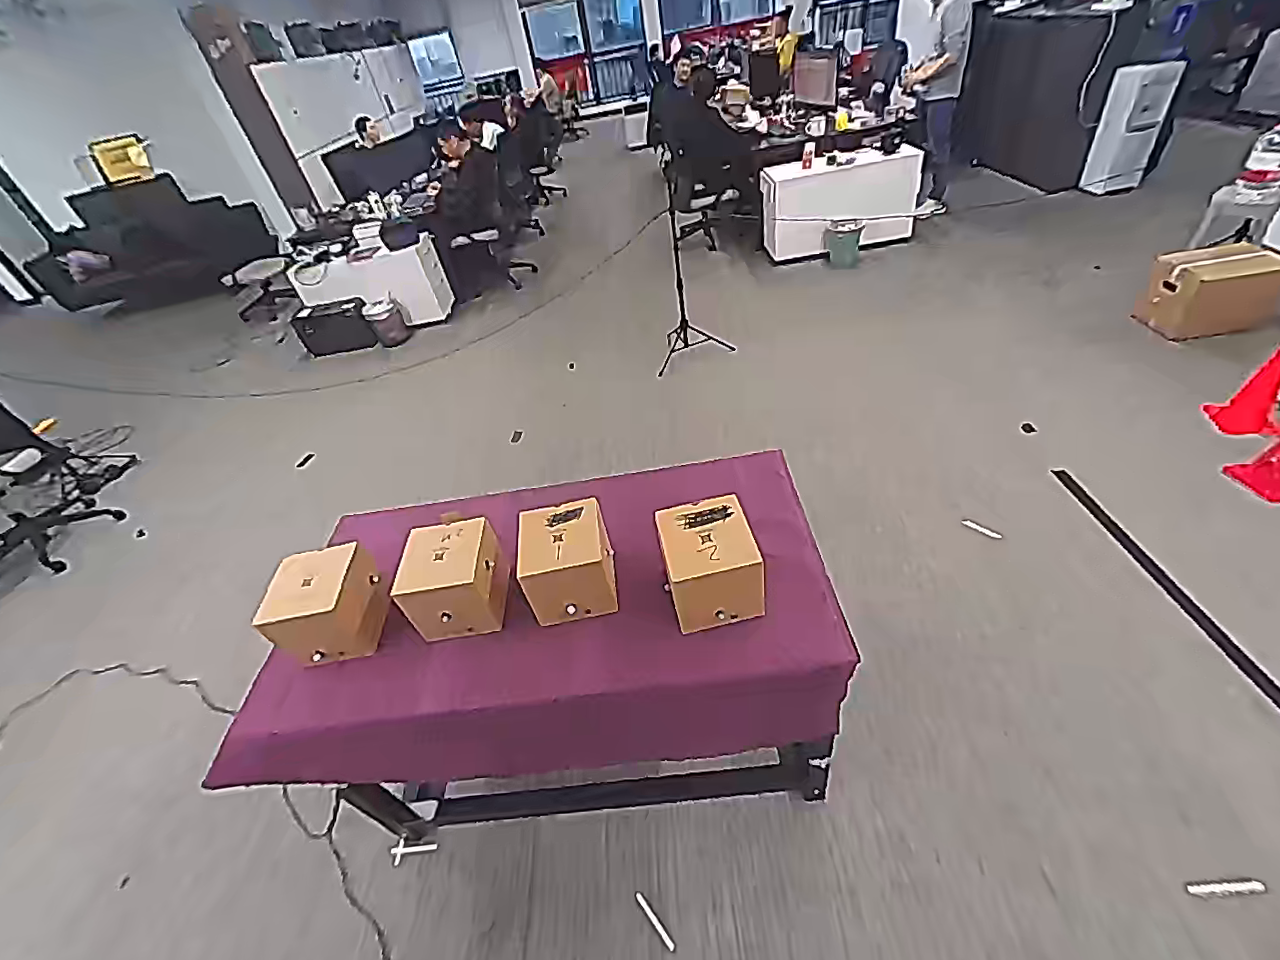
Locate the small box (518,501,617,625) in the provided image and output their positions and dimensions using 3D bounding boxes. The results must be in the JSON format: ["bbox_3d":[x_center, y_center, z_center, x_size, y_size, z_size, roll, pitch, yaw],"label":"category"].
[{"bbox_3d":[-0.147,0.173,1.131,0.168,0.176,0.179,-12,41,1],"label":"small box"}]

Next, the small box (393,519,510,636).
[{"bbox_3d":[-0.386,0.212,1.143,0.168,0.176,0.179,-9,40,3],"label":"small box"}]

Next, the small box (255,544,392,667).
[{"bbox_3d":[-0.655,0.266,1.148,0.168,0.176,0.179,-11,40,2],"label":"small box"}]
